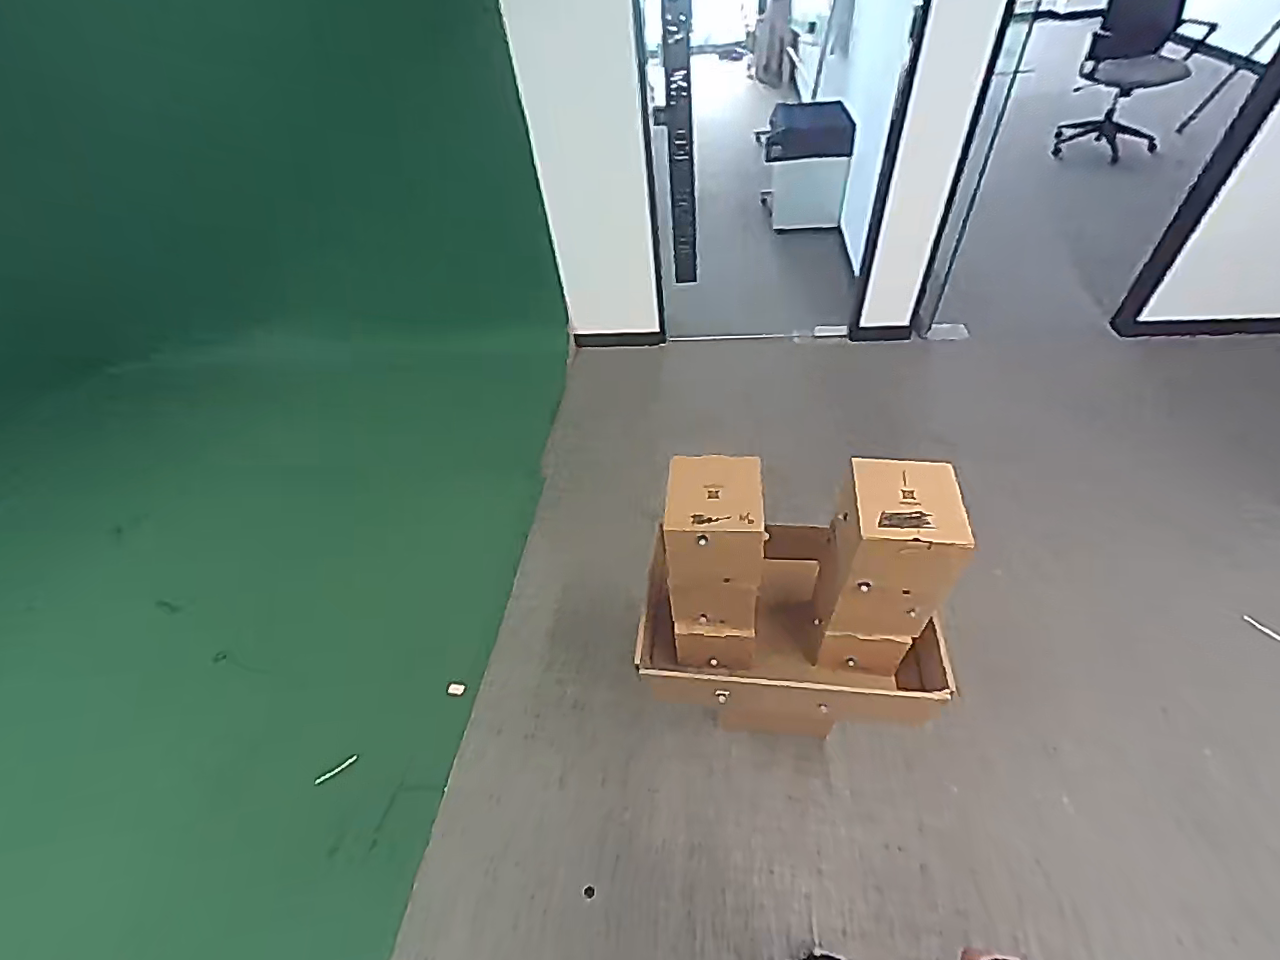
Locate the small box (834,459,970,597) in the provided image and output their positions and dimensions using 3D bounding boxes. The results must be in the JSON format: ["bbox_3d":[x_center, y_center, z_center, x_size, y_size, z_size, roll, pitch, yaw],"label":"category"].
[{"bbox_3d":[0.441,0.085,0.942,0.168,0.176,0.179,4,48,10],"label":"small box"}]

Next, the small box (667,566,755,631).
[{"bbox_3d":[0.153,0.186,1.114,0.168,0.176,0.179,3,48,12],"label":"small box"}]

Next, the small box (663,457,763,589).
[{"bbox_3d":[0.136,0.077,0.993,0.168,0.176,0.179,0,46,9],"label":"small box"}]
